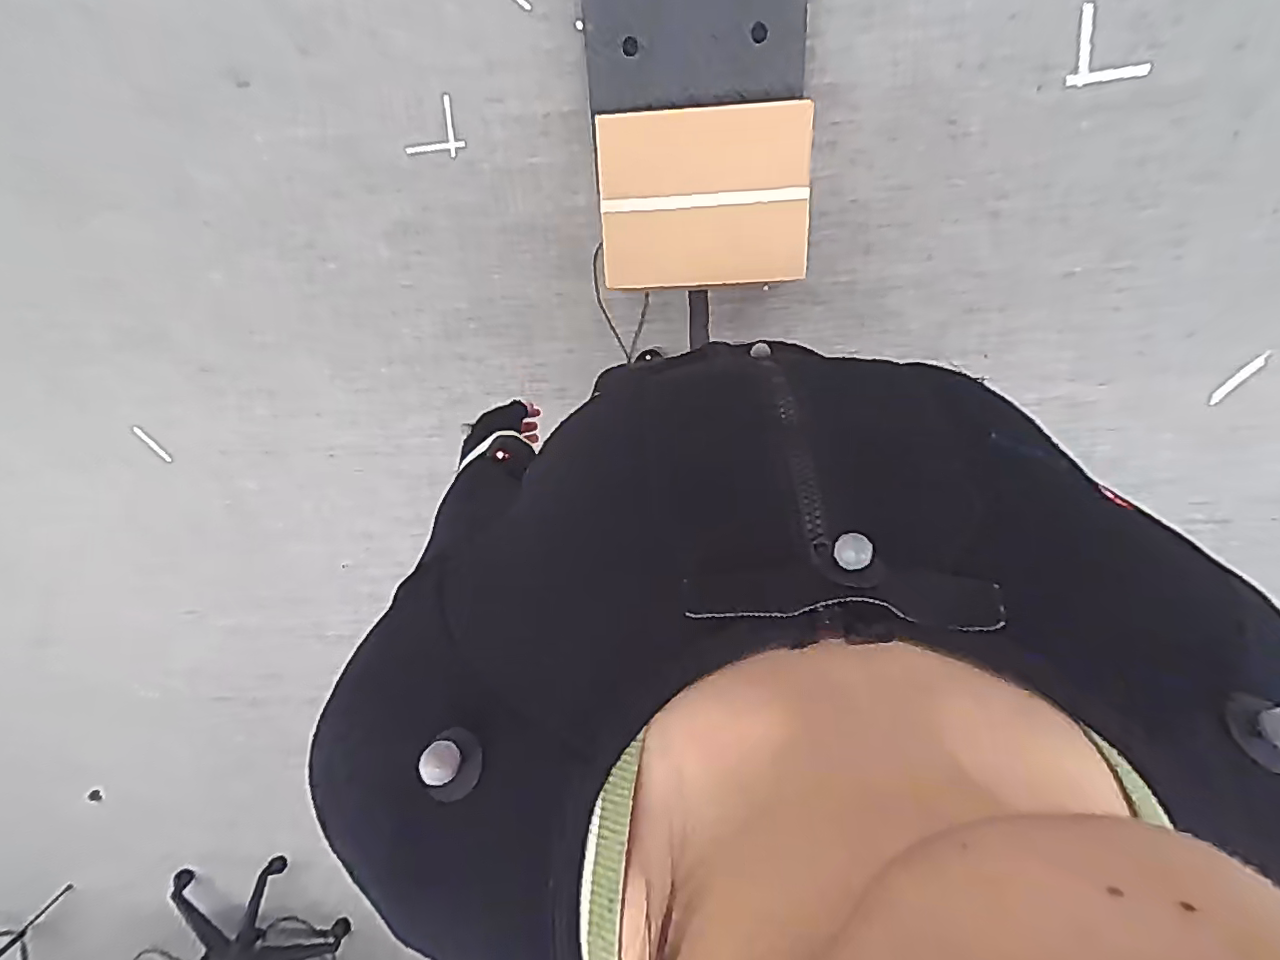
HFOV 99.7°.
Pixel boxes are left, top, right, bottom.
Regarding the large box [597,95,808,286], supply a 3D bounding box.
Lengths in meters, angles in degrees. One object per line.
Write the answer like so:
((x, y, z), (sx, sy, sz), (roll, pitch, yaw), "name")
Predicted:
((0.134, -0.604, 1.196), (0.408, 0.320, 0.320), (-1, 108, 5), "large box")

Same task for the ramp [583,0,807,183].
((0.109, -1.188, 1.117), (0.509, 0.206, 0.991), (-4, 104, 4), "ramp")
